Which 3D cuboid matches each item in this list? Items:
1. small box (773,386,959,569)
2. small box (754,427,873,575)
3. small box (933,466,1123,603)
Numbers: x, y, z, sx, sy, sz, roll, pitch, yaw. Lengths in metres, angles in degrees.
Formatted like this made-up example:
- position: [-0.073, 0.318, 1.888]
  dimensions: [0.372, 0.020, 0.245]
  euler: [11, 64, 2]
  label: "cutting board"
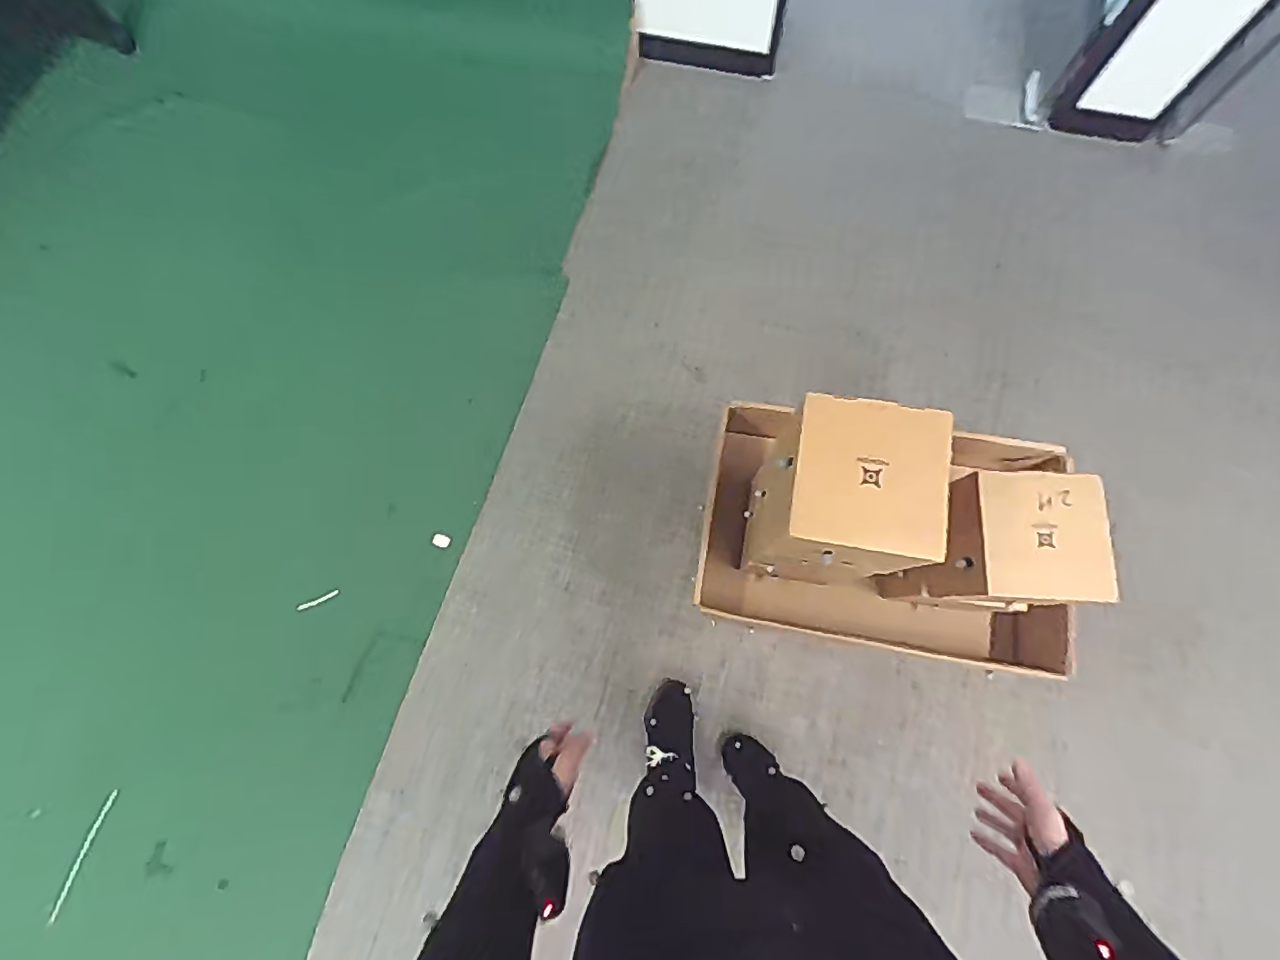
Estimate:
- position: [0.265, 0.007, 0.667]
  dimensions: [0.168, 0.176, 0.179]
  euler: [9, 76, 7]
  label: "small box"
- position: [0.275, 0.041, 0.825]
  dimensions: [0.168, 0.176, 0.179]
  euler: [11, 76, 7]
  label: "small box"
- position: [0.550, 0.087, 0.795]
  dimensions: [0.168, 0.176, 0.179]
  euler: [3, 77, 4]
  label: "small box"
